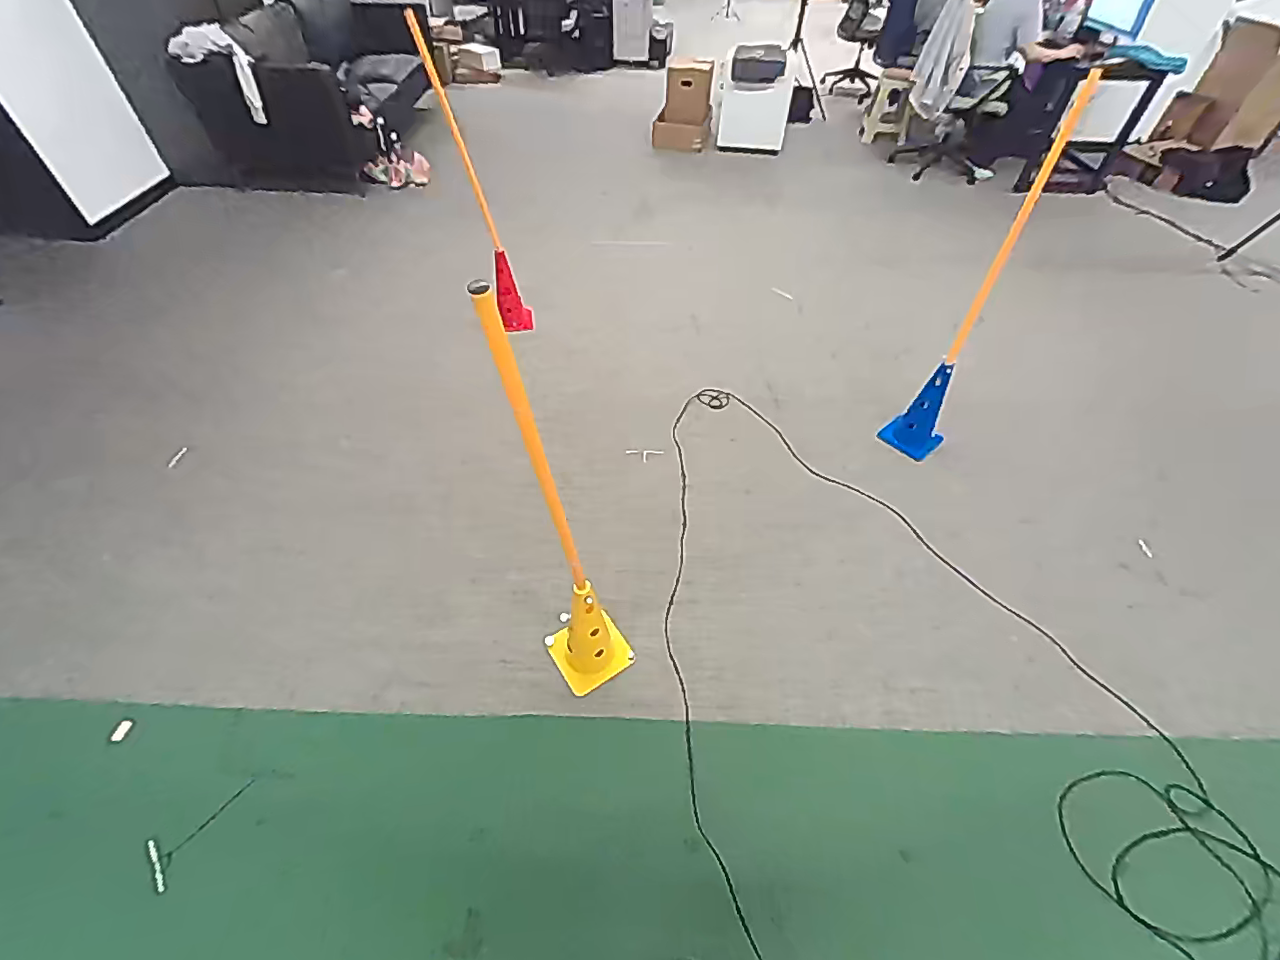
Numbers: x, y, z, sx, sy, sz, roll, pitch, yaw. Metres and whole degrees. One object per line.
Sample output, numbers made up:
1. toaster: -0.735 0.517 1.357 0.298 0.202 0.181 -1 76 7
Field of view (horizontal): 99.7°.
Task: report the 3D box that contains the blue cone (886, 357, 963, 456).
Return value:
1. blue cone: 1.091 -0.294 2.017 0.193 0.380 0.192 -34 56 -29
